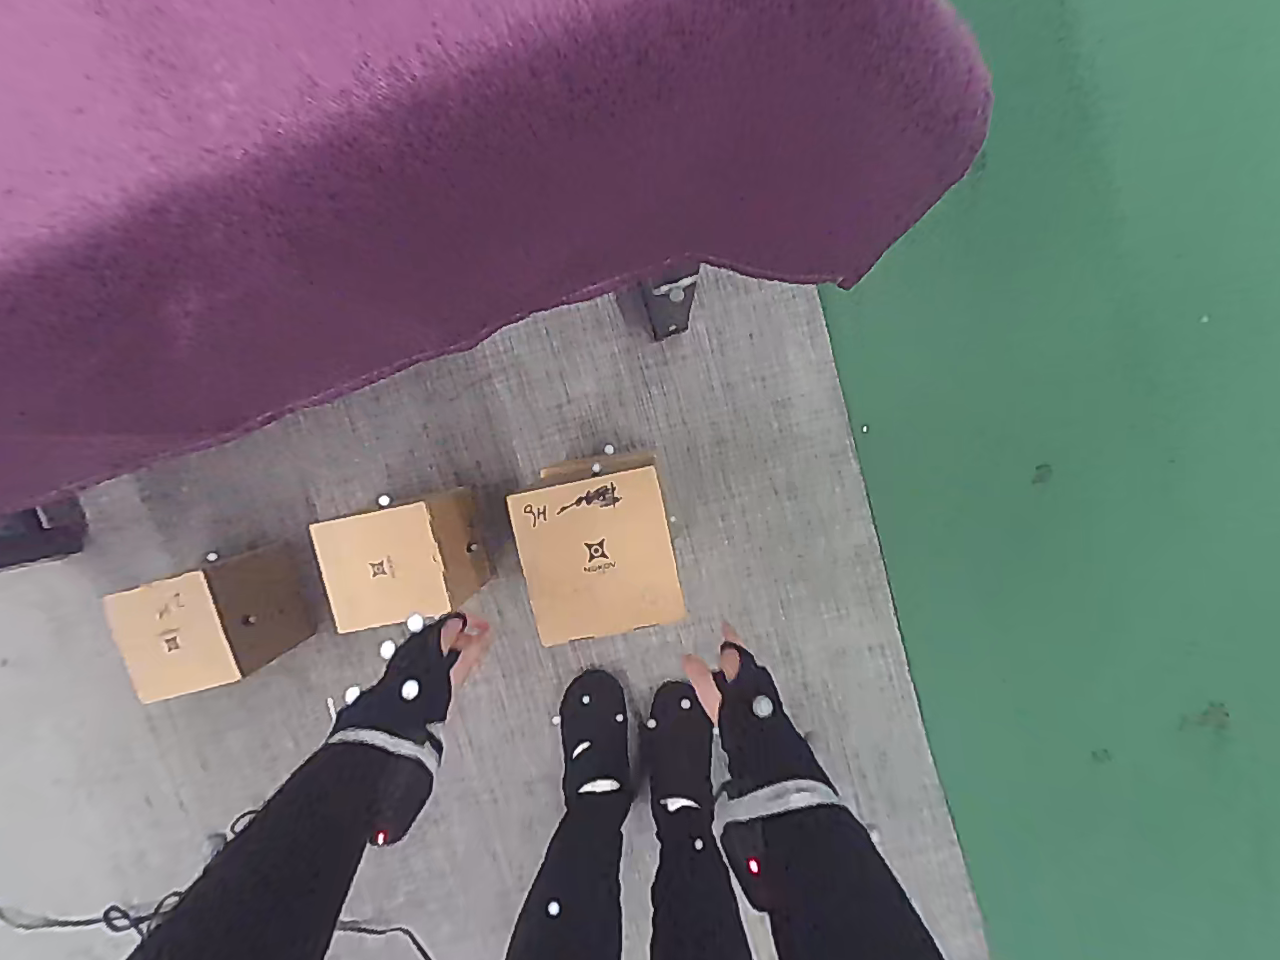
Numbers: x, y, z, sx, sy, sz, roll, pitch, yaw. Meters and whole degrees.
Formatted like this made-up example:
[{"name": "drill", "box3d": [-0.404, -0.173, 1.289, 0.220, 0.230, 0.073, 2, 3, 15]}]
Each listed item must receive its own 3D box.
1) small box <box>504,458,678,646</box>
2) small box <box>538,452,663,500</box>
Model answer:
[{"name": "small box", "box3d": [-0.048, 0.077, 0.668, 0.168, 0.176, 0.179, -11, 96, 3]}, {"name": "small box", "box3d": [-0.047, 0.056, 0.831, 0.168, 0.176, 0.179, -7, 94, 3]}]
